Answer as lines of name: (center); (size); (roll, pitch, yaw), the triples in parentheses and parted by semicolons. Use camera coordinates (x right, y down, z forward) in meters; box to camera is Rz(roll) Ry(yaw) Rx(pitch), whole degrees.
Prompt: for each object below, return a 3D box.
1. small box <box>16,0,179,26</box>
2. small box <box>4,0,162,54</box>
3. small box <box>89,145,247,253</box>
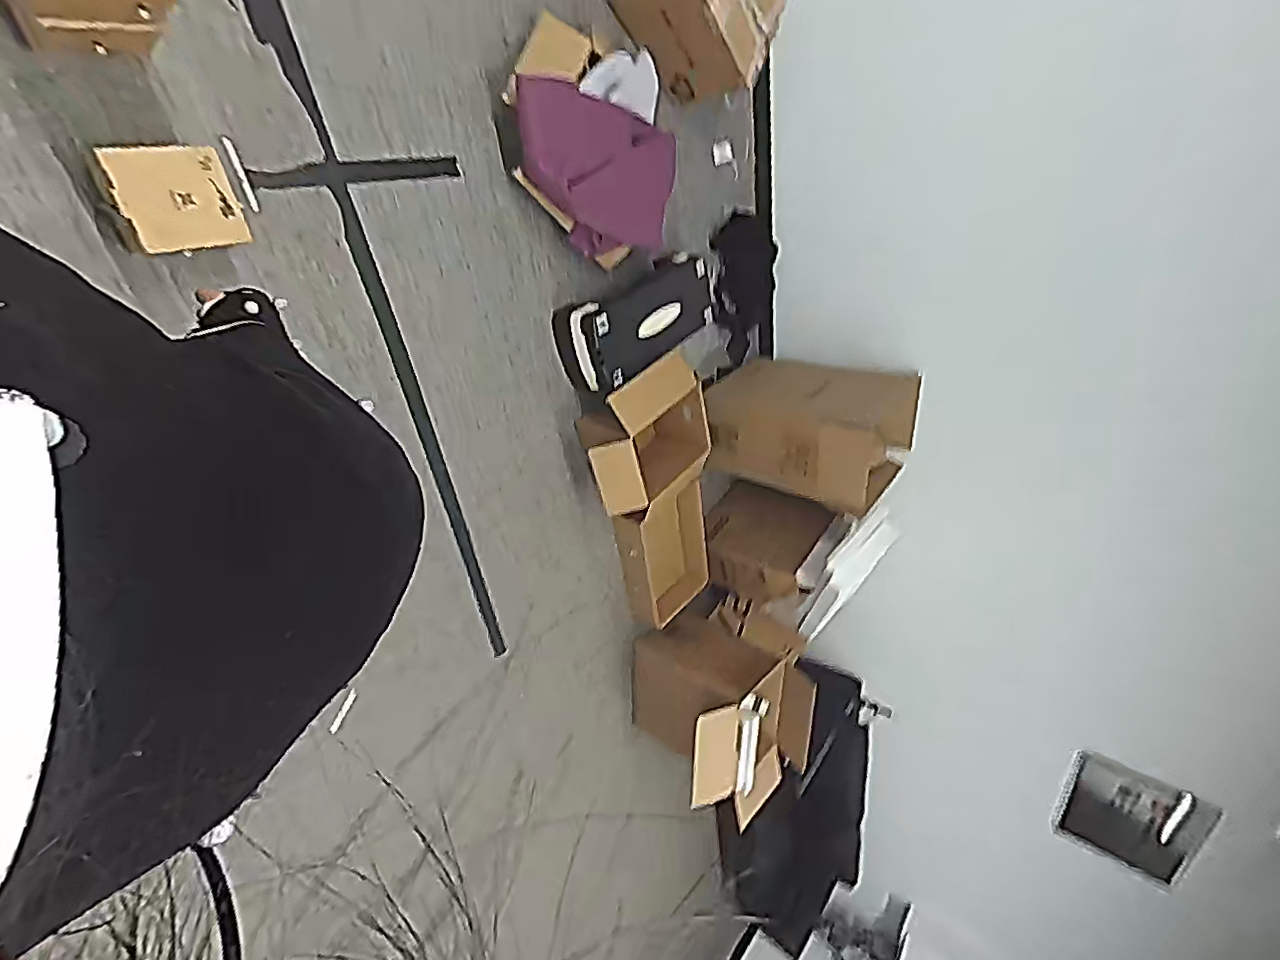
small box: (-0.819, -0.784, 0.777); (0.179, 0.176, 0.168); (-33, 126, -37)
small box: (-0.936, -0.822, 0.883); (0.168, 0.176, 0.179); (-35, 128, -38)
small box: (-0.902, -0.534, 1.035); (0.179, 0.176, 0.168); (-31, 126, -39)
